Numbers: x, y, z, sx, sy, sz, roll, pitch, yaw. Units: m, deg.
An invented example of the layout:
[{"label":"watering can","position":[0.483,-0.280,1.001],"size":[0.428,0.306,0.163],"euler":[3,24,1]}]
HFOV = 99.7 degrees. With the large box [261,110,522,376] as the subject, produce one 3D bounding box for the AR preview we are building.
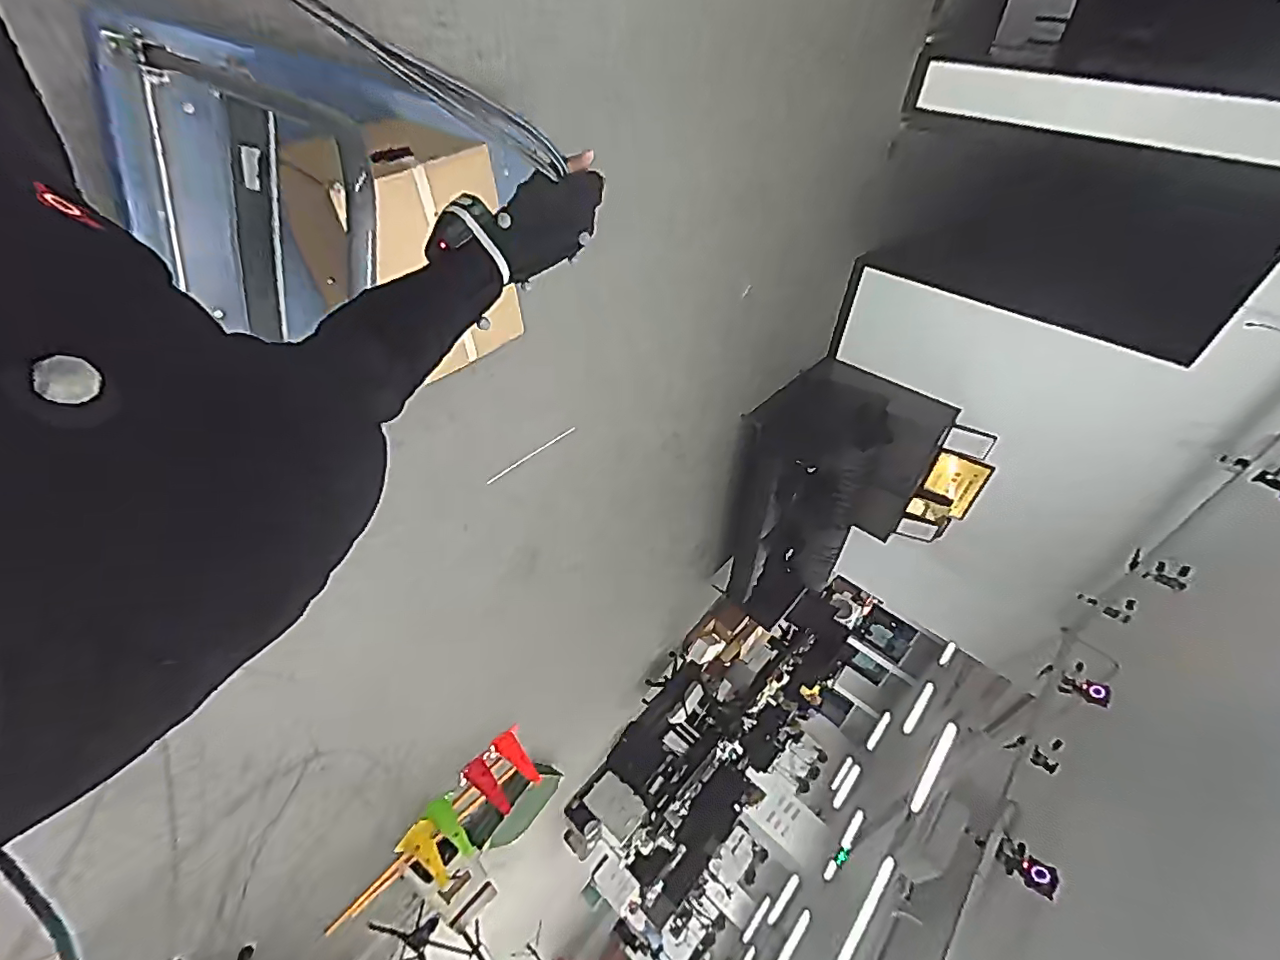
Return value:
[{"label":"large box","position":[-0.501,-0.507,1.156],"size":[0.320,0.320,0.408],"euler":[-39,147,-30]}]
